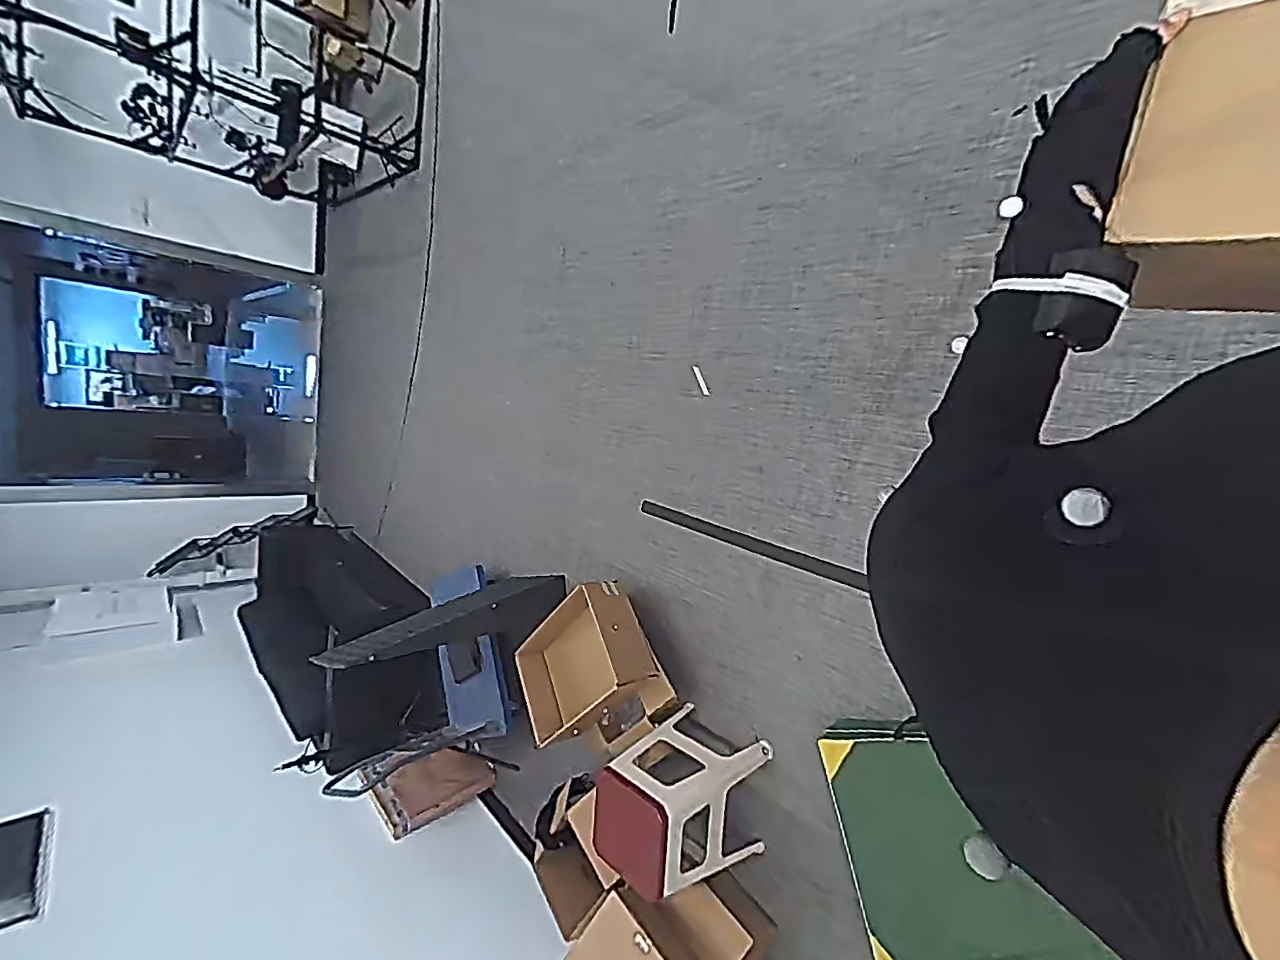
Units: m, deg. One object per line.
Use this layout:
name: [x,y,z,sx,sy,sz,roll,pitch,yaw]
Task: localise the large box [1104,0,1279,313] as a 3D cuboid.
large box: [0.623,-0.296,0.370,0.408,0.320,0.320,19,107,42]
